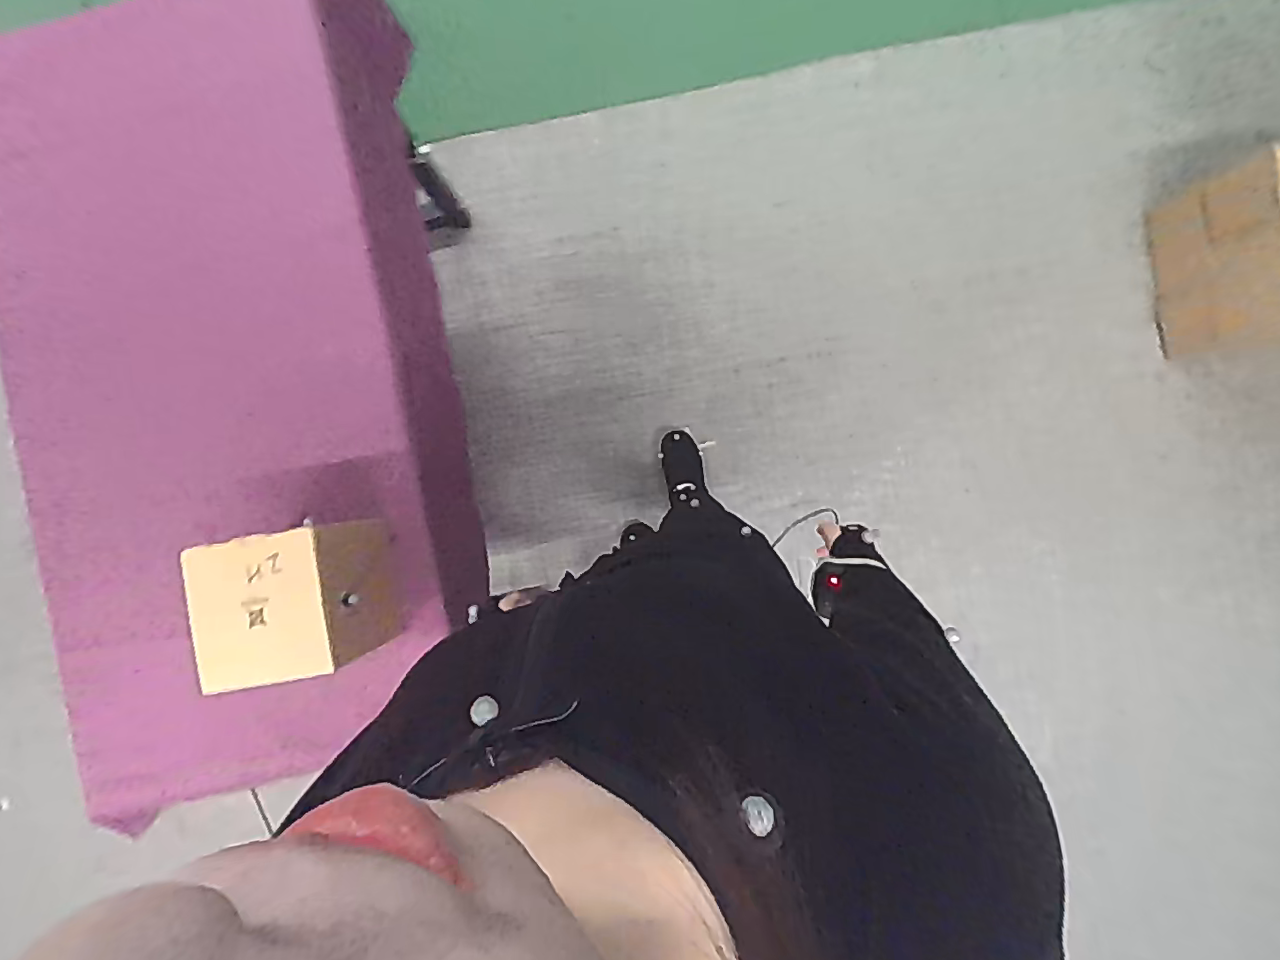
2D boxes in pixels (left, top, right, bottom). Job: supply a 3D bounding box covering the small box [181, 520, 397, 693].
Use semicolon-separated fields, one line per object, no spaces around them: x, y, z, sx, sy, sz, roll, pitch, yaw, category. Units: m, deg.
-0.445;0.155;0.713;0.168;0.176;0.179;-10;88;3;small box
